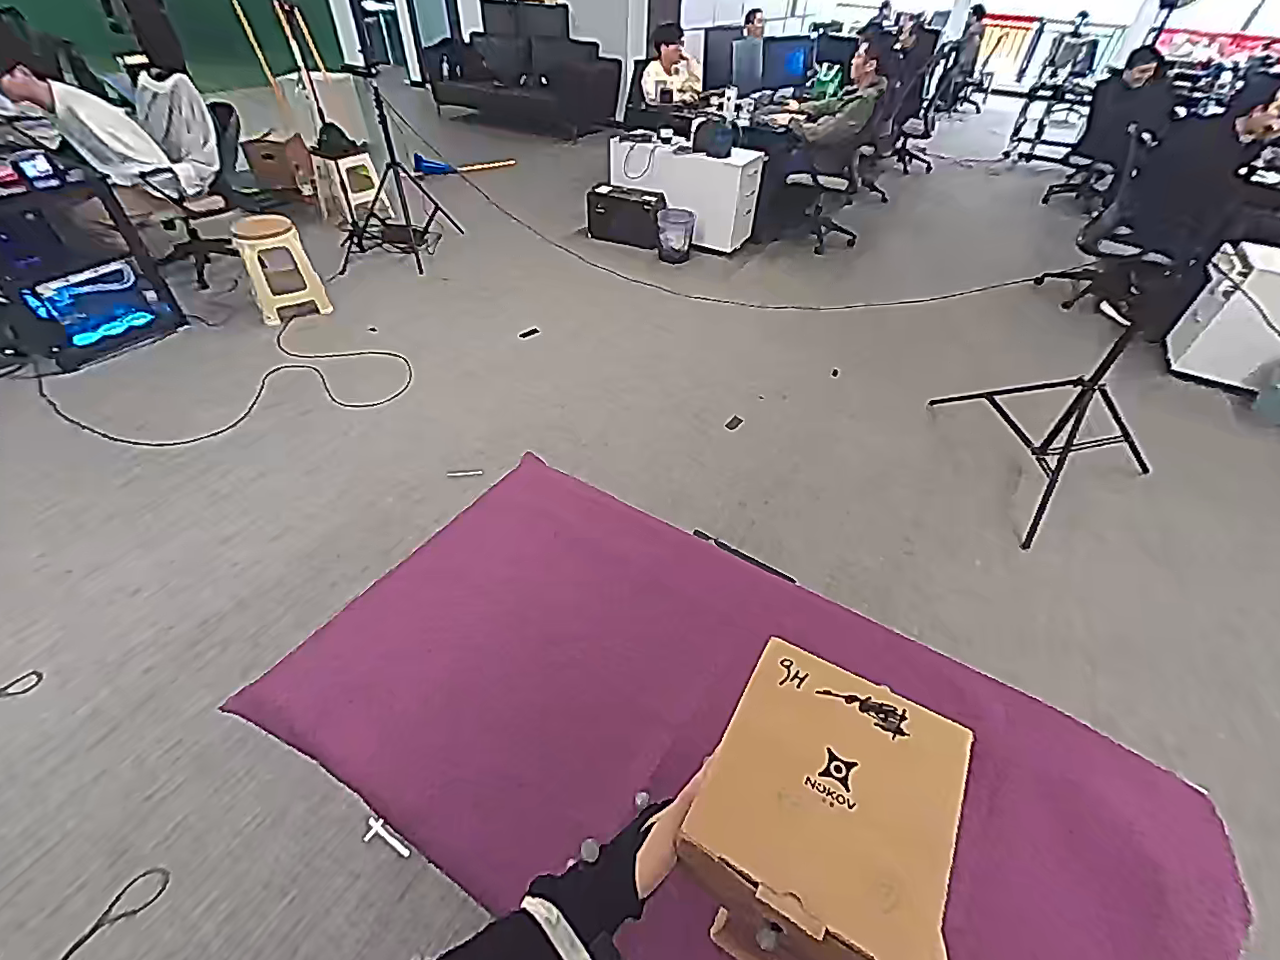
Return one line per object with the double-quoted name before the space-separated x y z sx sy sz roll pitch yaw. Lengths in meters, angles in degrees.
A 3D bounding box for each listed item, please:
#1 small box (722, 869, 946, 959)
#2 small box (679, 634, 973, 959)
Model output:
"small box" 0.199 0.439 0.579 0.168 0.176 0.179 24 47 21
"small box" 0.146 0.272 0.454 0.168 0.176 0.179 22 52 23
